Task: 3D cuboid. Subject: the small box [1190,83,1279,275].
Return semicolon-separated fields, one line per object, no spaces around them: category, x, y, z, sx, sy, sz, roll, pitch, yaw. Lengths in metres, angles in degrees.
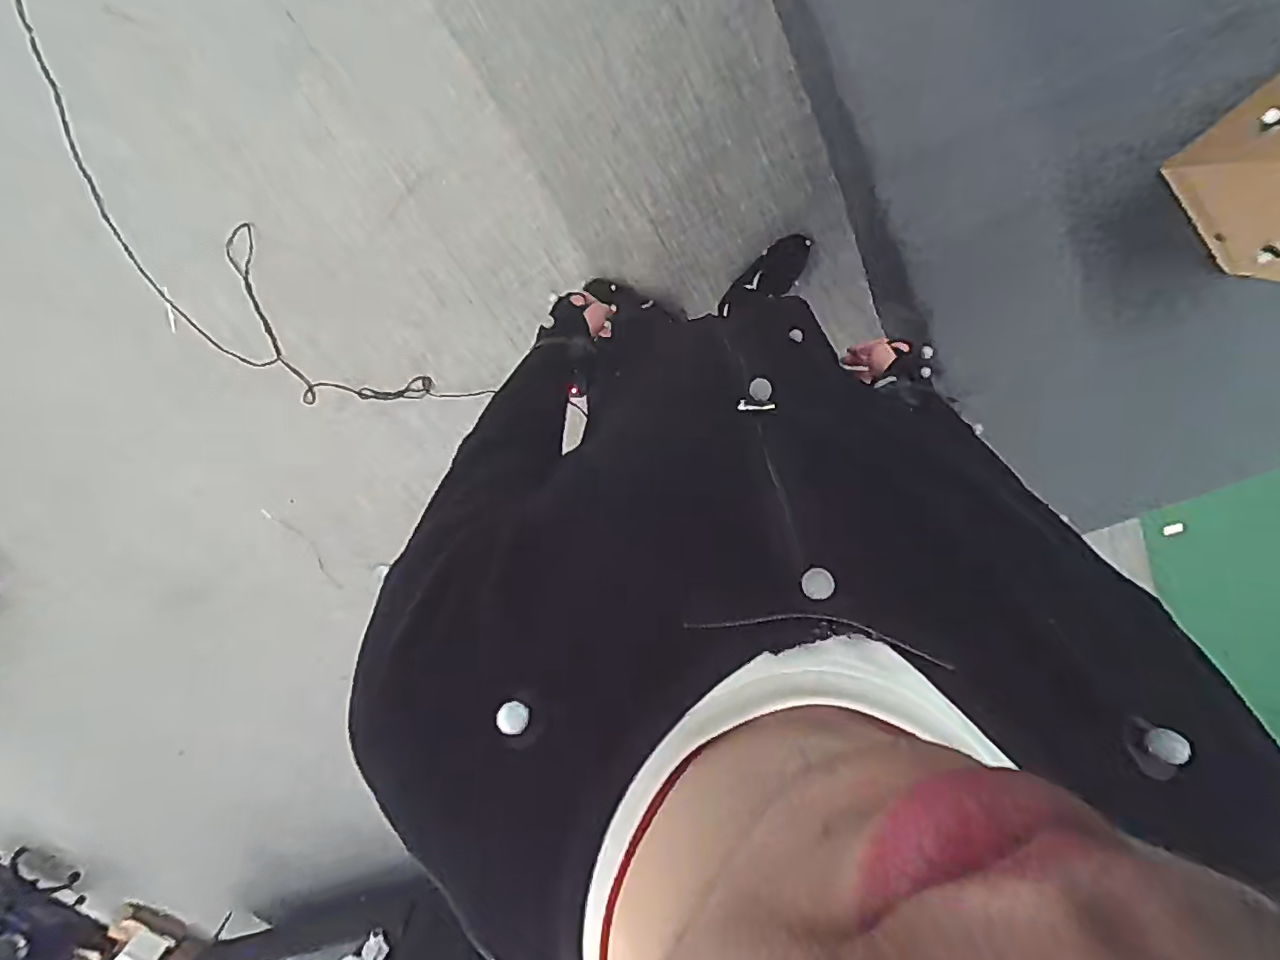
small box;0.697;-0.311;0.518;0.179;0.176;0.168;-40;108;24
